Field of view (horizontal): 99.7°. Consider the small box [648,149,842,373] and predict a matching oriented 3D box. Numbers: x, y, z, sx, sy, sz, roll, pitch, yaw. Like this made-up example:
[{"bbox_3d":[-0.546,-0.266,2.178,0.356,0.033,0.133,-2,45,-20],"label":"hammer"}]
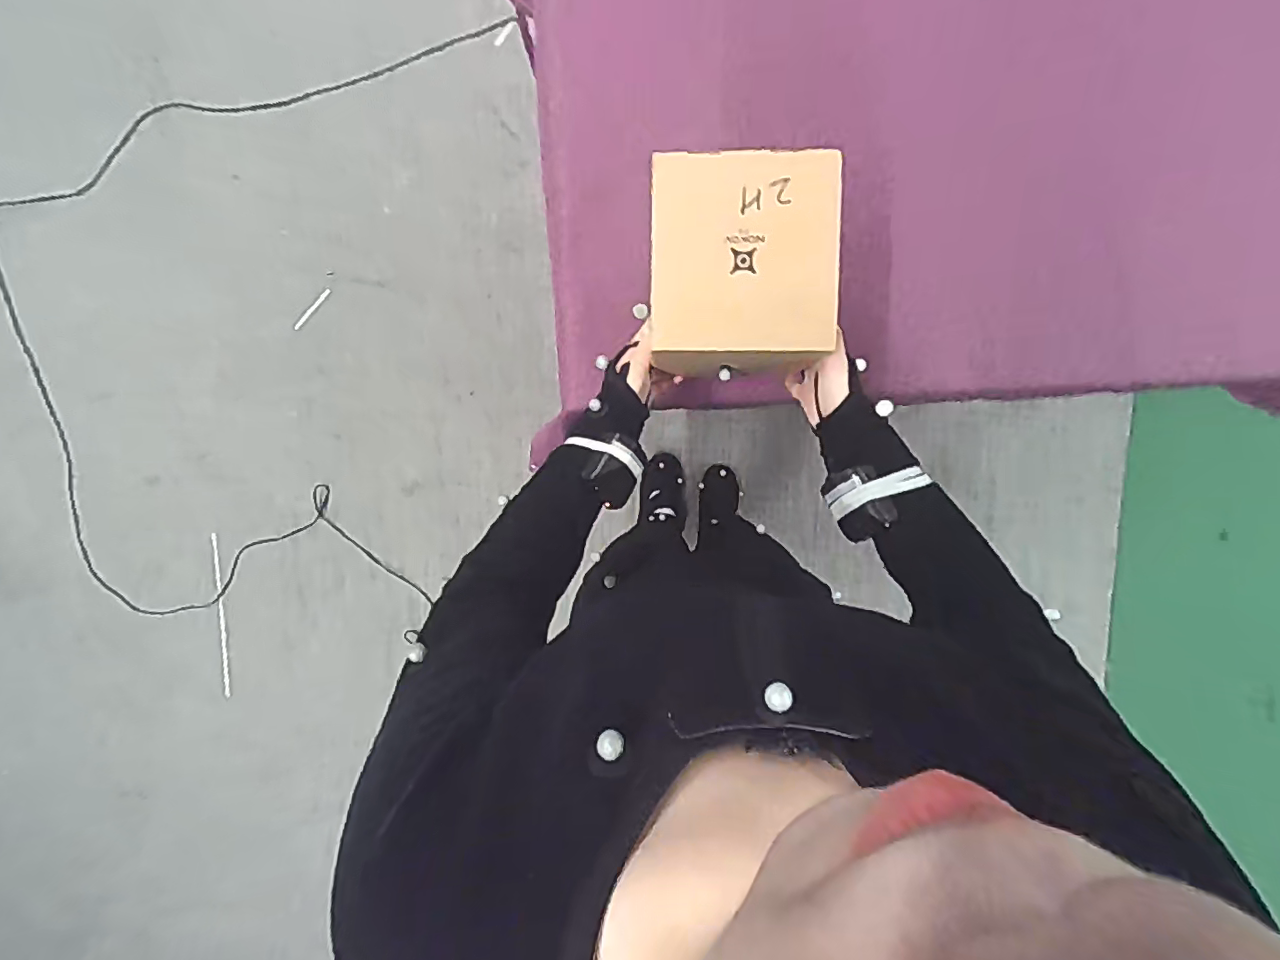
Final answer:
[{"bbox_3d":[0.095,-0.206,0.555,0.168,0.176,0.179,1,93,2],"label":"small box"}]
